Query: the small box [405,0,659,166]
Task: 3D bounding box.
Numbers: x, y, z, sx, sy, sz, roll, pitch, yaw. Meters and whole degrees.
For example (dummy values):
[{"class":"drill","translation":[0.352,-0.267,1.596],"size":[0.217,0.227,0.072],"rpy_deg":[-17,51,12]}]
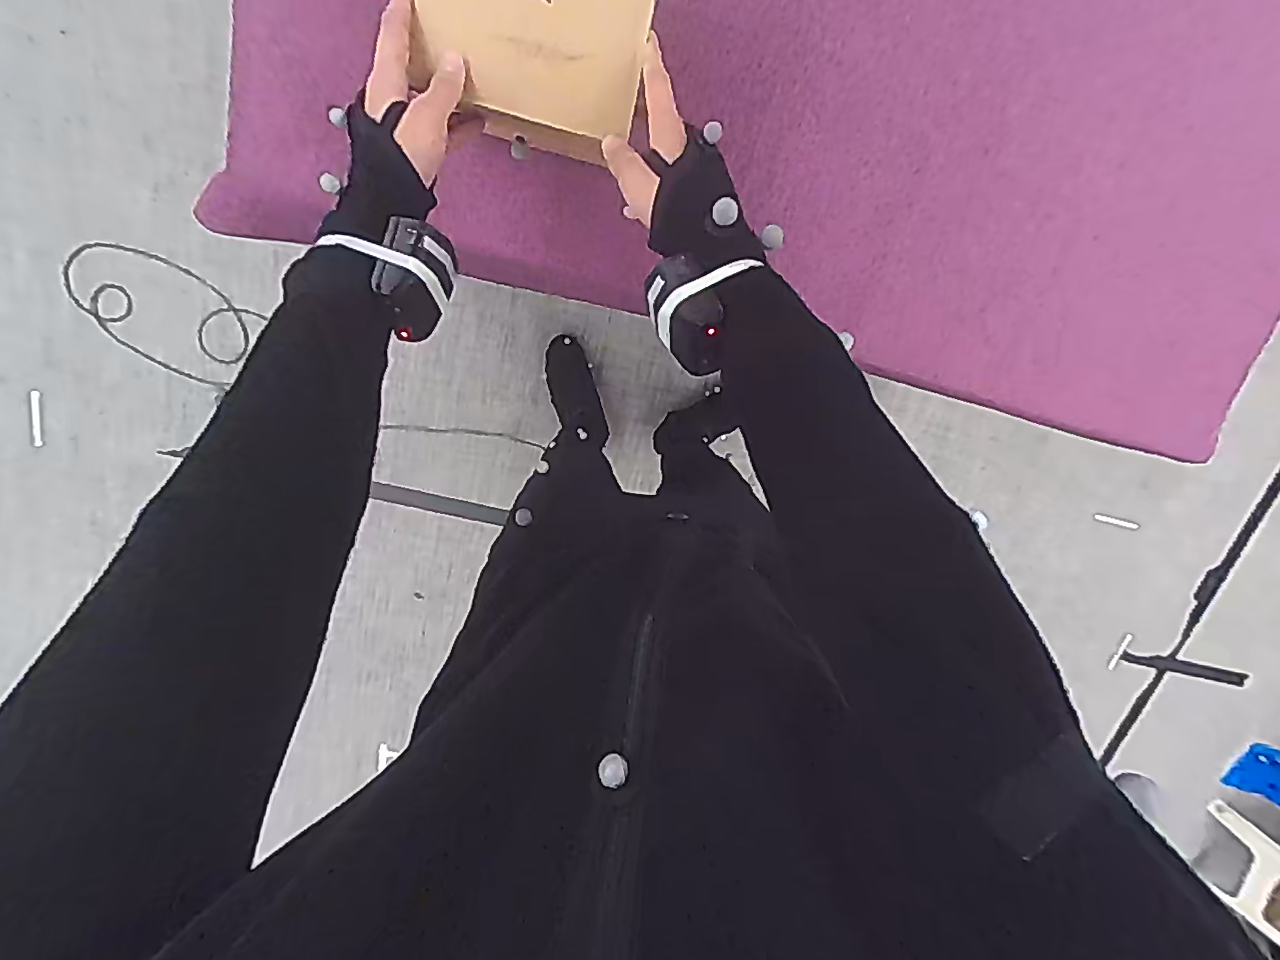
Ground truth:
[{"class":"small box","translation":[-0.072,-0.381,0.438],"size":[0.168,0.176,0.179],"rpy_deg":[12,113,-8]}]
